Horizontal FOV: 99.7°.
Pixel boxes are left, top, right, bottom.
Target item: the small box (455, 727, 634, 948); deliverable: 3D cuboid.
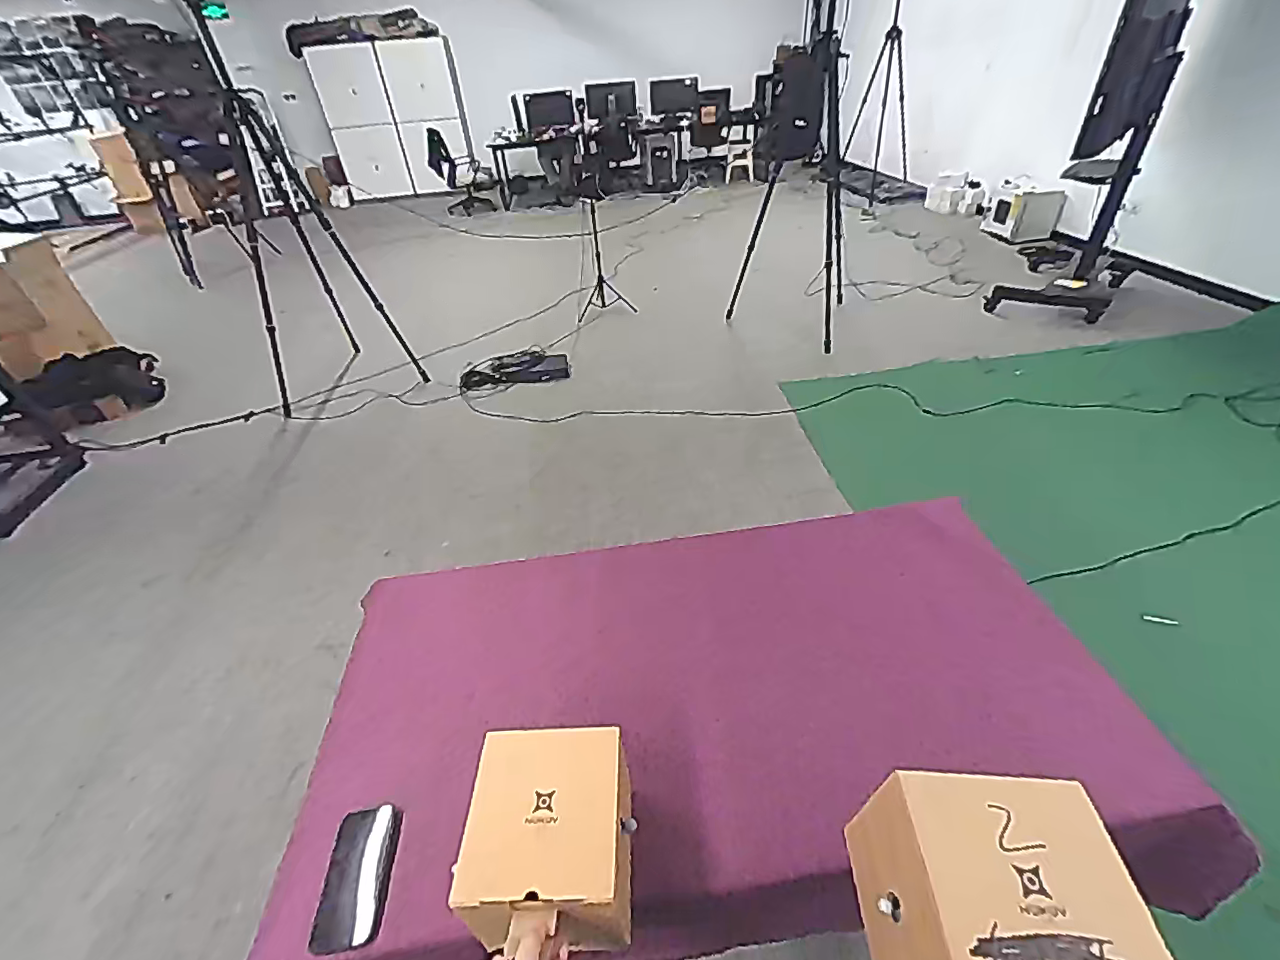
[{"bbox_3d":[-0.096,0.418,0.640,0.168,0.176,0.179,-2,38,3],"label":"small box"}]
